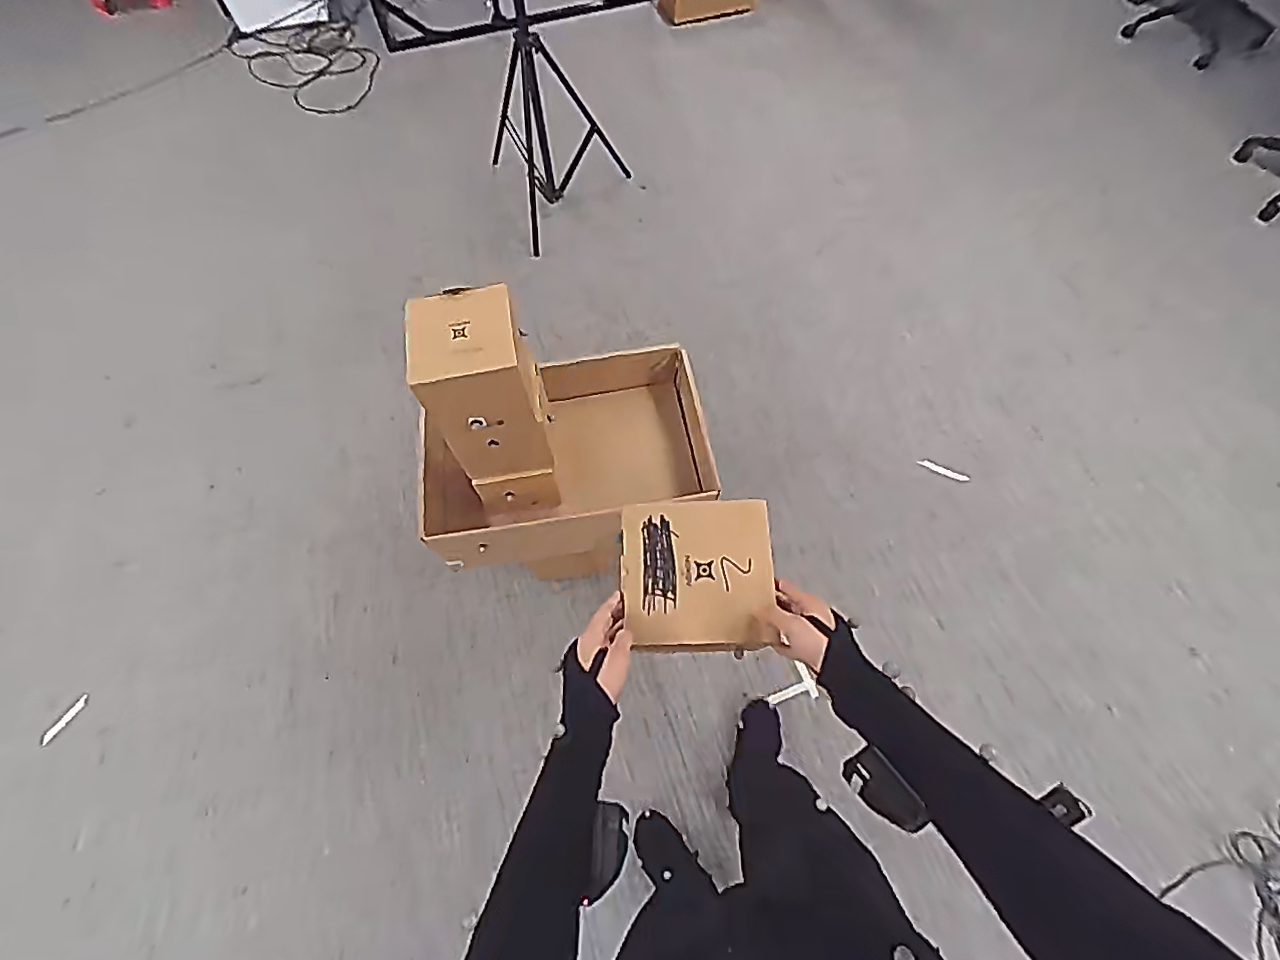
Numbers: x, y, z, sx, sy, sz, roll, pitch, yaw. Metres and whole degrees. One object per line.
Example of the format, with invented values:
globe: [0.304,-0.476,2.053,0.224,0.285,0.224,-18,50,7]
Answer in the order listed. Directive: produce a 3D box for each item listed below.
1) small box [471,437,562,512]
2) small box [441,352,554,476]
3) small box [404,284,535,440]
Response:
small box: [-0.272,-0.042,1.192,0.168,0.176,0.179,-10,64,-5]
small box: [-0.271,-0.121,1.048,0.179,0.176,0.168,-9,64,-4]
small box: [-0.278,-0.192,0.900,0.168,0.176,0.179,-11,64,-4]
